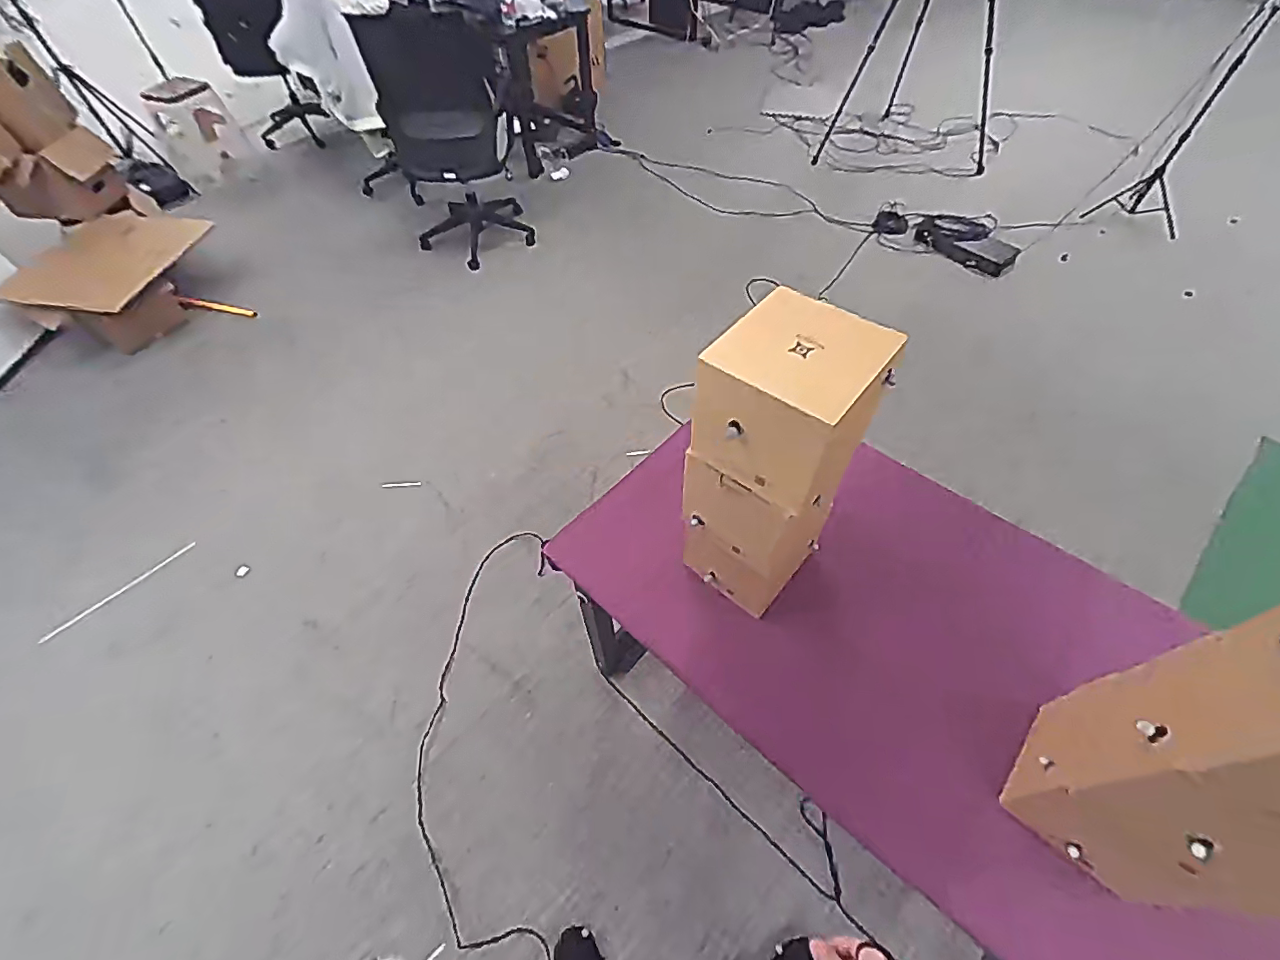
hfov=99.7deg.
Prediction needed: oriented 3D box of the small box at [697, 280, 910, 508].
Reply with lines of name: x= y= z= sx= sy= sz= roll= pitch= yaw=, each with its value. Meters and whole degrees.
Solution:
small box: x=0.181 y=-0.099 z=0.643 sx=0.168 sy=0.176 sz=0.179 roll=33 pitch=60 yaw=23

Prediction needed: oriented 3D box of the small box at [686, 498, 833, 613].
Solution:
small box: x=0.190 y=0.087 z=0.910 sx=0.168 sy=0.176 sz=0.179 roll=35 pitch=62 yaw=24

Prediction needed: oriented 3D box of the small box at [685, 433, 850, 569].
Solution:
small box: x=0.180 y=-0.005 z=0.775 sx=0.168 sy=0.176 sz=0.179 roll=36 pitch=61 yaw=25

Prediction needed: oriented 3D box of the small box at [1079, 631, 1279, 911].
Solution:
small box: x=0.597 y=0.294 z=0.544 sx=0.168 sy=0.176 sz=0.179 roll=36 pitch=62 yaw=24

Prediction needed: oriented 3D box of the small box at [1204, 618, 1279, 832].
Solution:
small box: x=0.597 y=0.199 z=0.411 sx=0.168 sy=0.176 sz=0.179 roll=34 pitch=60 yaw=25
